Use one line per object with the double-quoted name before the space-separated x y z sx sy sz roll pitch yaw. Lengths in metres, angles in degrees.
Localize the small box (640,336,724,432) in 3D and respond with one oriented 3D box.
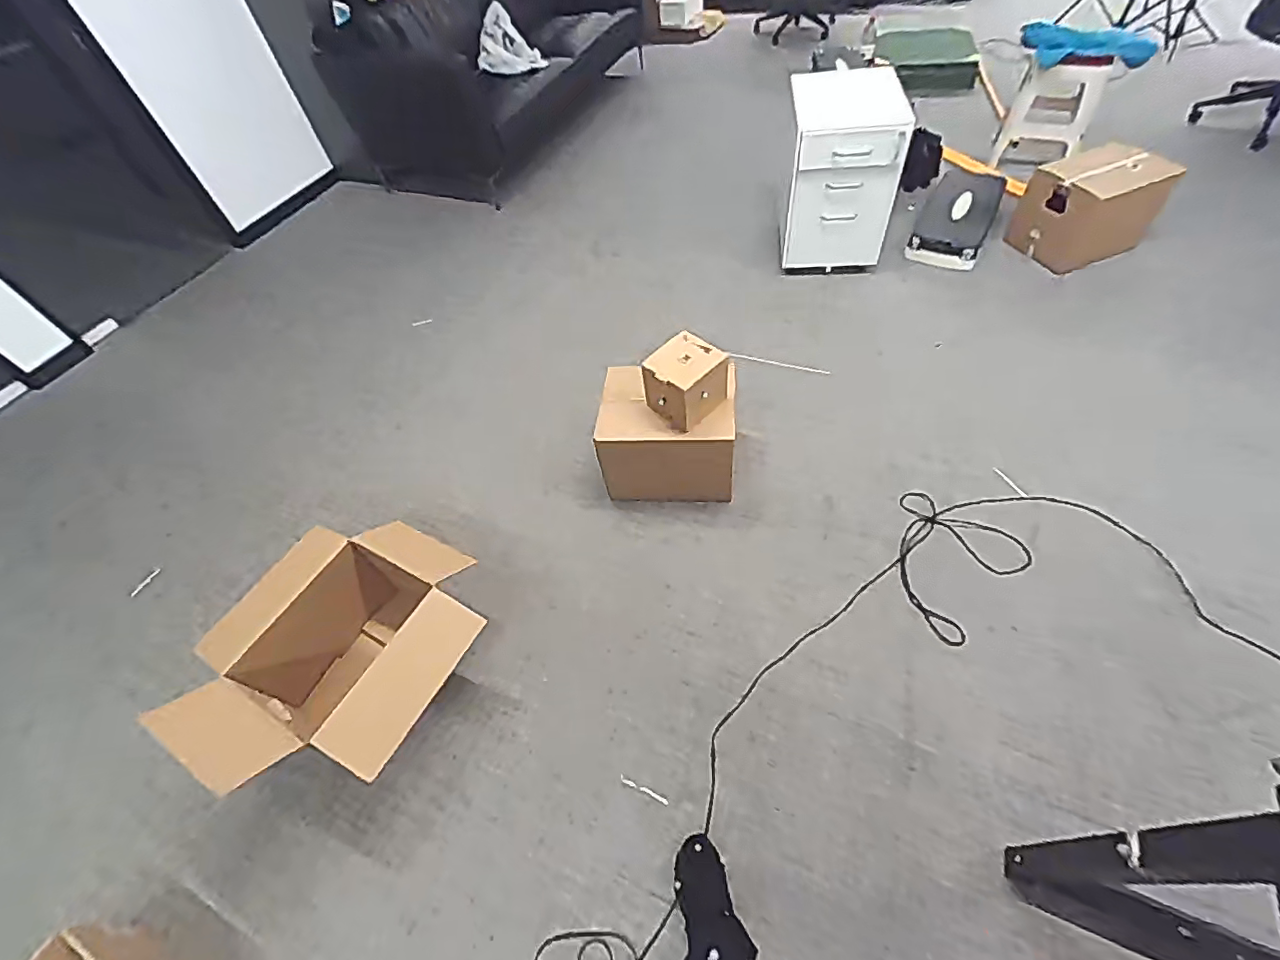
"small box" 0.125 -0.268 1.529 0.179 0.176 0.168 -41 59 -19
